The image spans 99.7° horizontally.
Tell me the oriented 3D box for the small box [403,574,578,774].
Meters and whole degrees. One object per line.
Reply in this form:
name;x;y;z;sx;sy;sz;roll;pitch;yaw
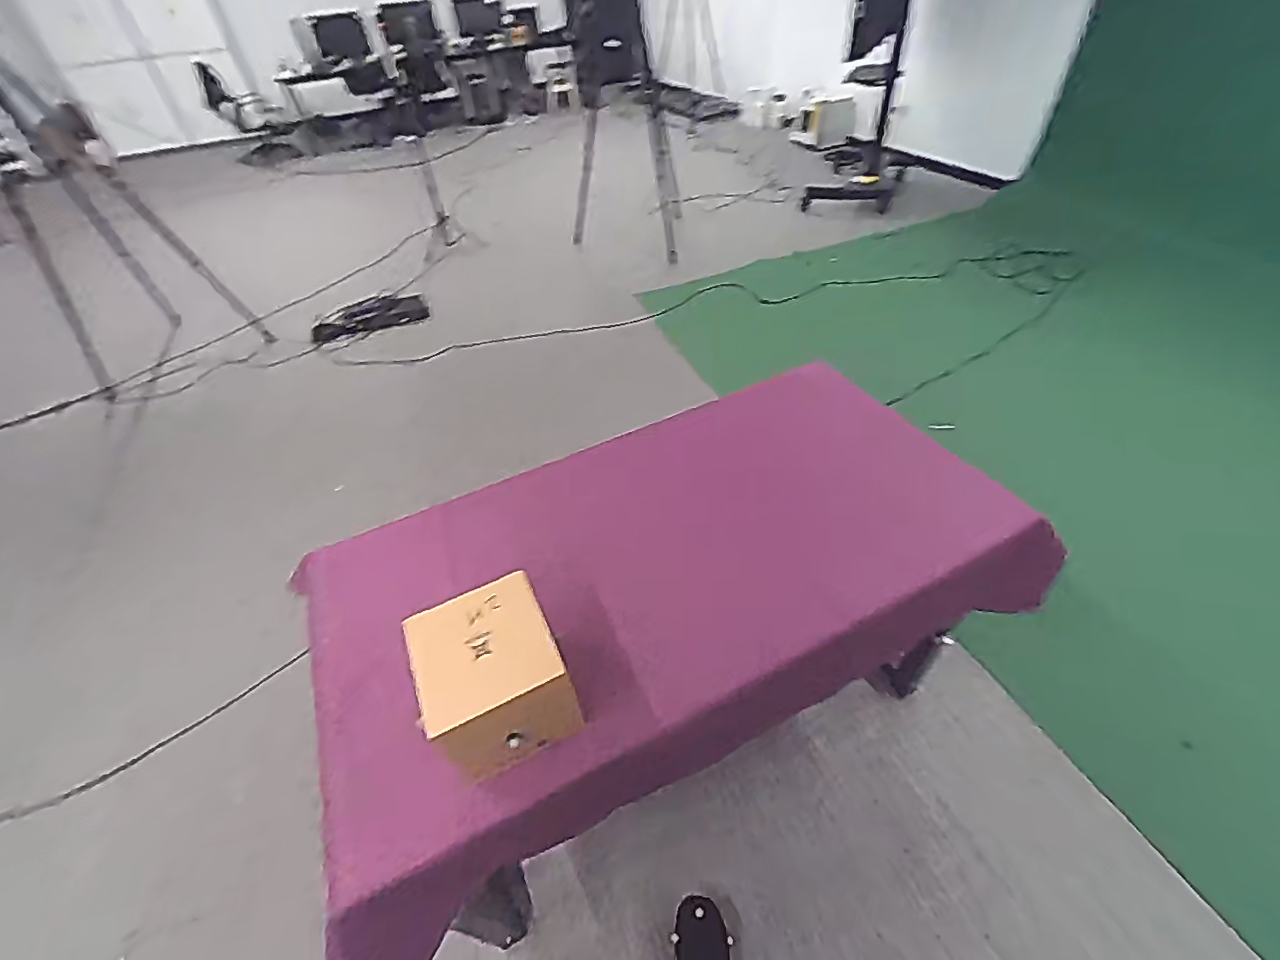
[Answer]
small box;-0.196;0.267;0.731;0.168;0.176;0.179;-22;46;-17
